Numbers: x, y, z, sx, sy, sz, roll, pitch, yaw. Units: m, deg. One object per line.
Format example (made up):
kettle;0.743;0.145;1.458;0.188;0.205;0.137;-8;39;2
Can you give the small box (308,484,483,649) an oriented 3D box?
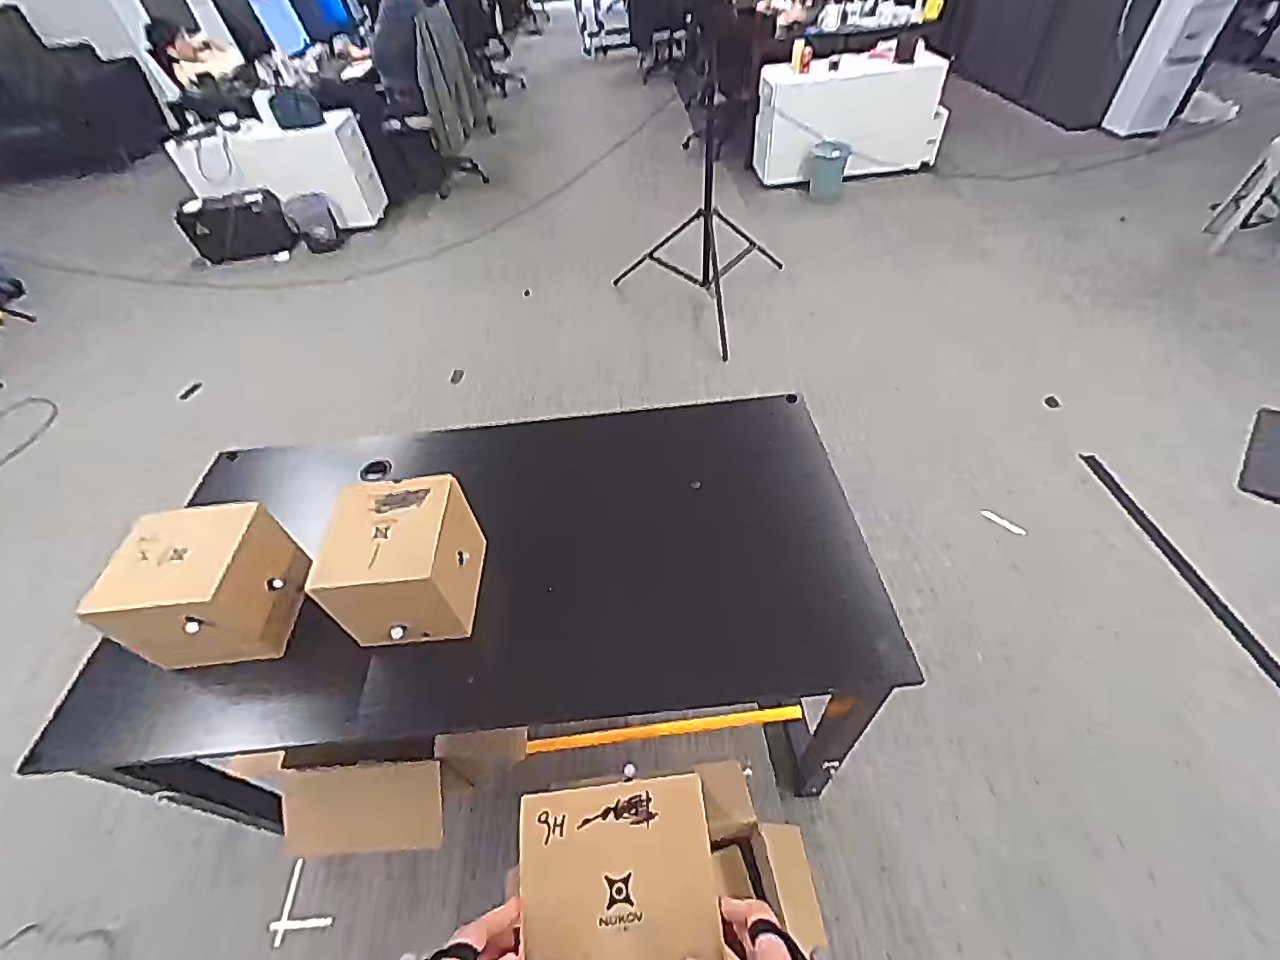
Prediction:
small box;-0.343;0.129;0.803;0.168;0.176;0.179;-5;48;1

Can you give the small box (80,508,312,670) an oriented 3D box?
small box;-0.626;0.163;0.796;0.179;0.176;0.168;-6;47;-1

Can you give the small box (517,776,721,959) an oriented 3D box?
small box;-0.015;0.388;0.514;0.168;0.176;0.179;-6;60;-1
